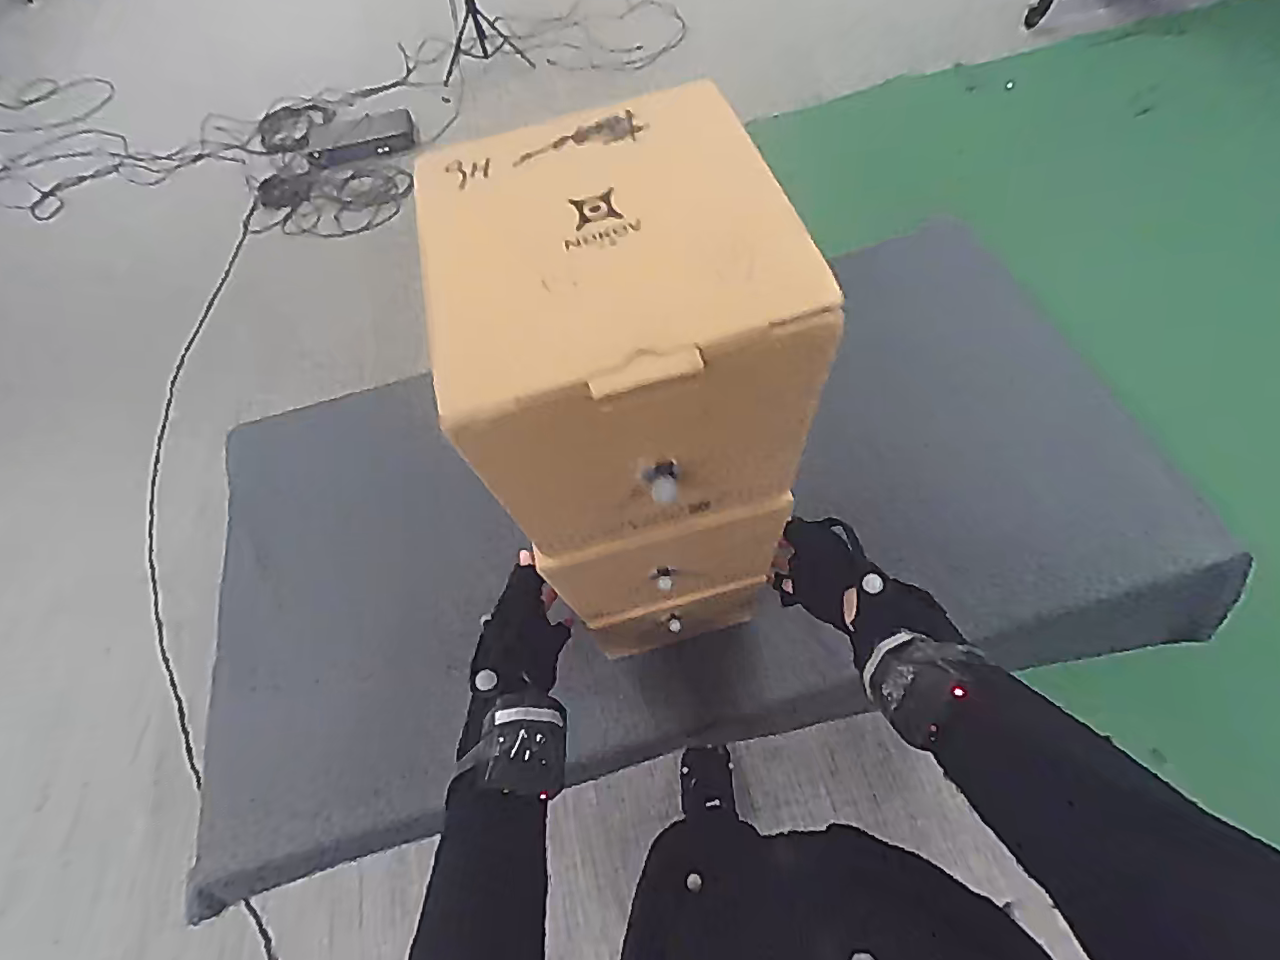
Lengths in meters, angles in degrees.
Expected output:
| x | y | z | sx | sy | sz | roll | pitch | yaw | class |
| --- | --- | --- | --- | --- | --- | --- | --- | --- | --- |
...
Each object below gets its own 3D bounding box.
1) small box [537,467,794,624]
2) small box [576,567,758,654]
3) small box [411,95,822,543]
| x | y | z | sx | sy | sz | roll | pitch | yaw | class |
| --- | --- | --- | --- | --- | --- | --- | --- | --- | --- |
| 0.005 | 0.007 | 0.461 | 0.179 | 0.176 | 0.168 | -17 | 63 | -3 | small box |
| 0.016 | 0.084 | 0.606 | 0.179 | 0.176 | 0.168 | -15 | 63 | -3 | small box |
| -0.014 | -0.074 | 0.320 | 0.168 | 0.176 | 0.179 | -15 | 63 | -1 | small box |
